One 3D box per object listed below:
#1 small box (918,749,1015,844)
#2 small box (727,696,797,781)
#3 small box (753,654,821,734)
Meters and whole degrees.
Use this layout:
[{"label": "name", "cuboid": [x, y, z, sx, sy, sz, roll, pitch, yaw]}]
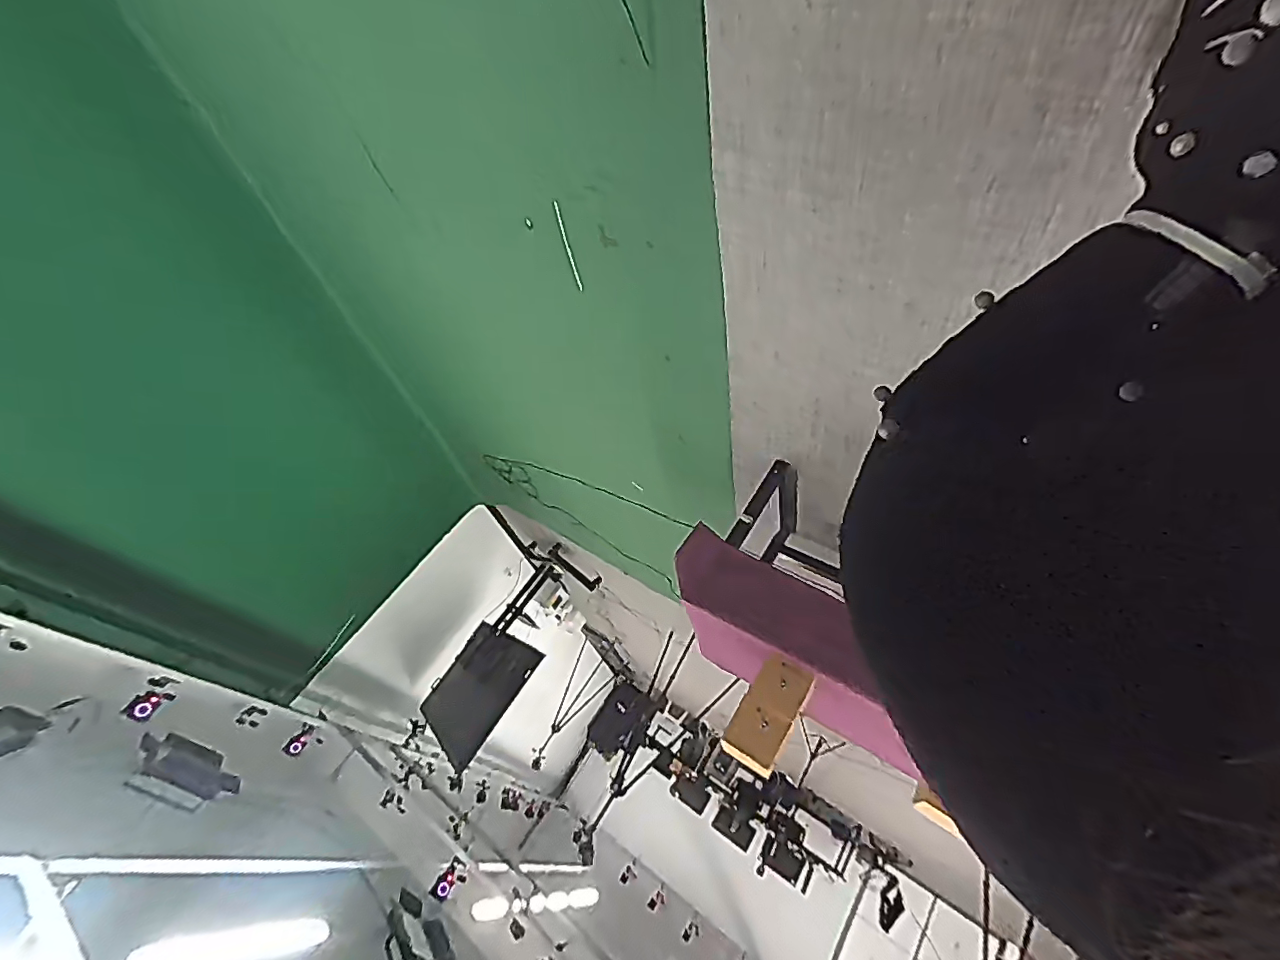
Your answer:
[{"label": "small box", "cuboid": [0.932, 0.904, 1.547, 0.179, 0.176, 0.168, 26, 154, 26]}, {"label": "small box", "cuboid": [0.396, 0.831, 1.744, 0.168, 0.176, 0.179, 24, 152, 28]}, {"label": "small box", "cuboid": [0.489, 0.709, 1.801, 0.168, 0.176, 0.179, 24, 153, 28]}]
